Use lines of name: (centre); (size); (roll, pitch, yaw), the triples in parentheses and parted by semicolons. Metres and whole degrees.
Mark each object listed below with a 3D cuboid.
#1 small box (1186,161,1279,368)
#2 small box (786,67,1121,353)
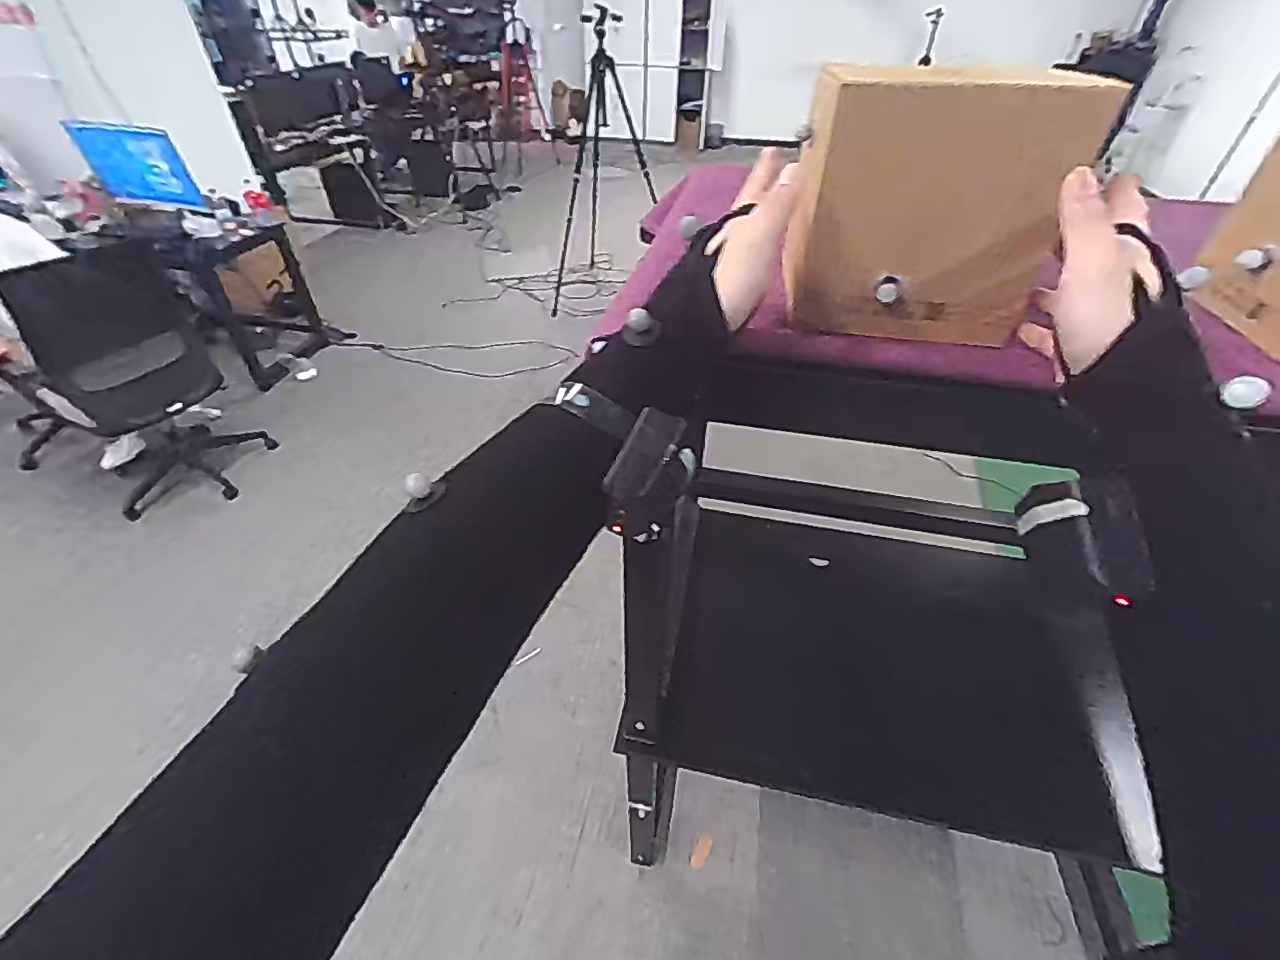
small box: (0.578, -0.177, 0.390); (0.179, 0.176, 0.168); (9, 41, 11)
small box: (0.216, -0.223, 0.439); (0.168, 0.176, 0.179); (7, 41, 8)
